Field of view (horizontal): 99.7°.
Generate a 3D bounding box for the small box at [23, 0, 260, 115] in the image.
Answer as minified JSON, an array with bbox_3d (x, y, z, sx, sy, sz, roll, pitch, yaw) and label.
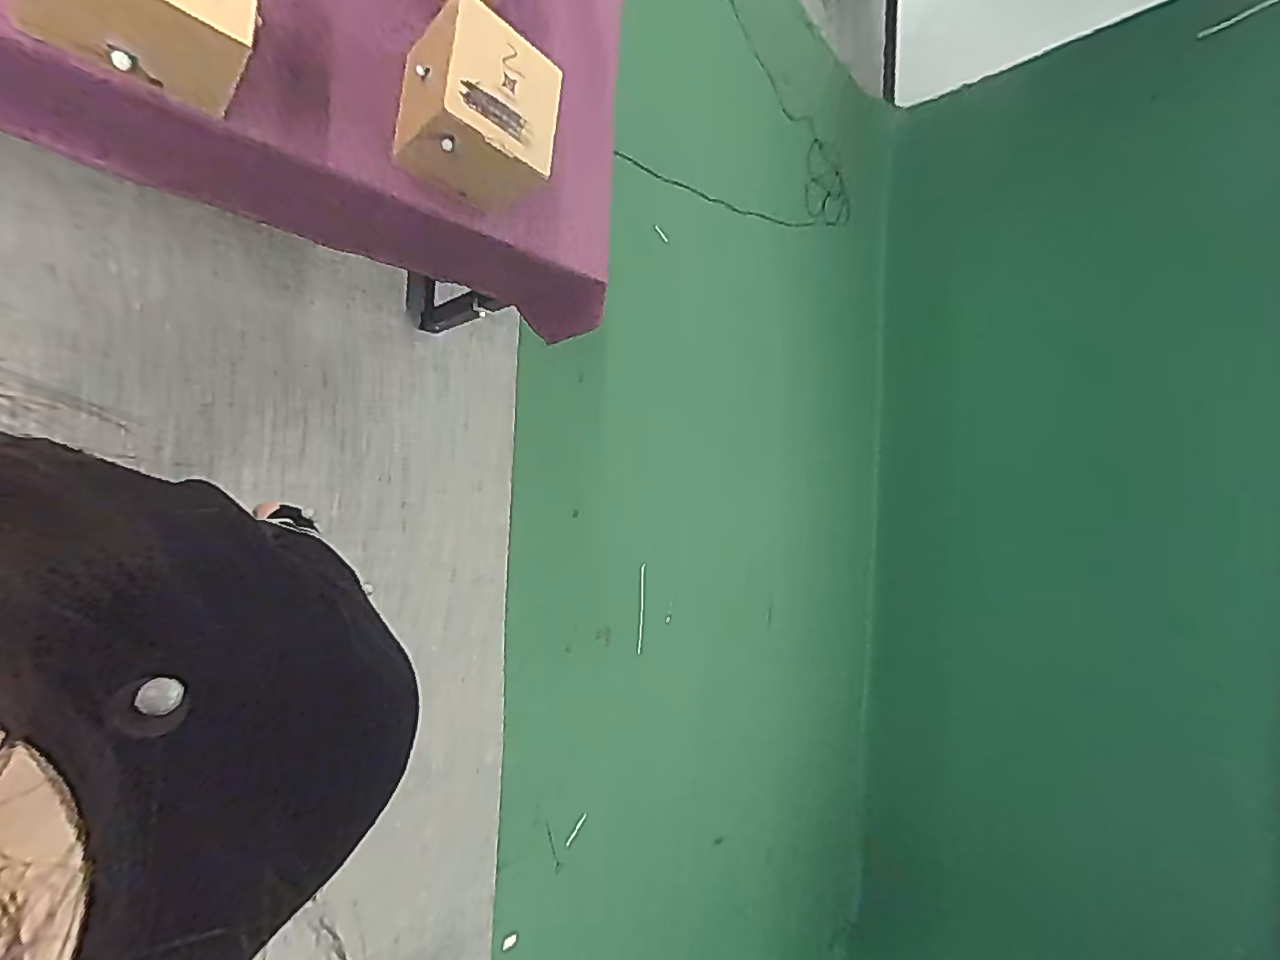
[{"bbox_3d":[-0.488,-0.519,0.535,0.168,0.176,0.179,6,87,-45],"label":"small box"}]
